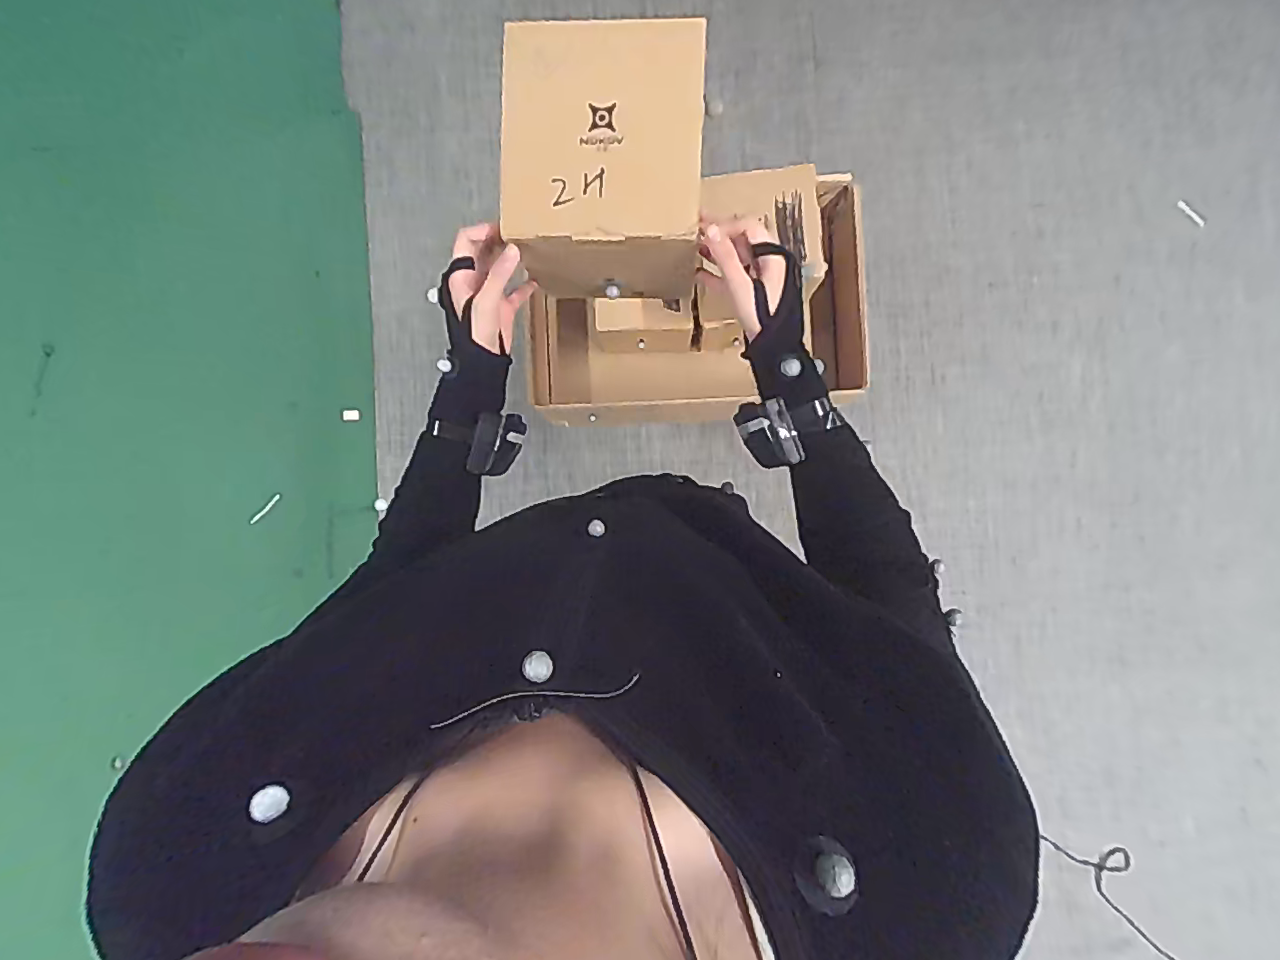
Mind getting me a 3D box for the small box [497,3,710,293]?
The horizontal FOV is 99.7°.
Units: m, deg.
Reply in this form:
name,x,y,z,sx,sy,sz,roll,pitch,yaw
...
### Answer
name,x,y,z,sx,sy,sz,roll,pitch,yaw
small box,-0.026,-0.293,0.510,0.168,0.176,0.179,3,92,4
